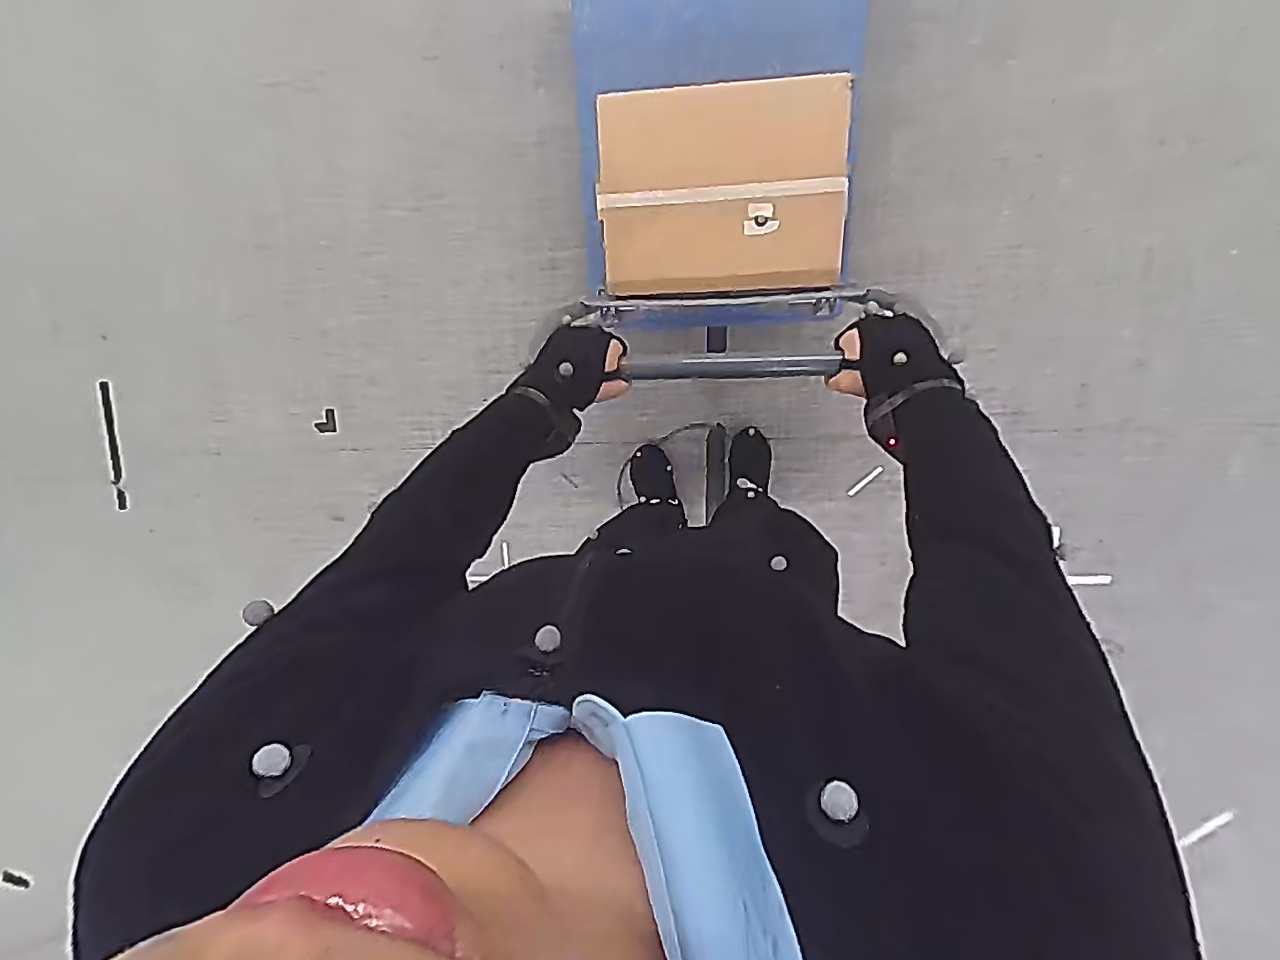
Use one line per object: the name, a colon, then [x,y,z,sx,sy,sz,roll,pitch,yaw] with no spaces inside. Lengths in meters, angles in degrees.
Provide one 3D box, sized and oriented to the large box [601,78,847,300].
large box: [0.151,-0.530,1.060,0.408,0.320,0.320,-1,108,6]
